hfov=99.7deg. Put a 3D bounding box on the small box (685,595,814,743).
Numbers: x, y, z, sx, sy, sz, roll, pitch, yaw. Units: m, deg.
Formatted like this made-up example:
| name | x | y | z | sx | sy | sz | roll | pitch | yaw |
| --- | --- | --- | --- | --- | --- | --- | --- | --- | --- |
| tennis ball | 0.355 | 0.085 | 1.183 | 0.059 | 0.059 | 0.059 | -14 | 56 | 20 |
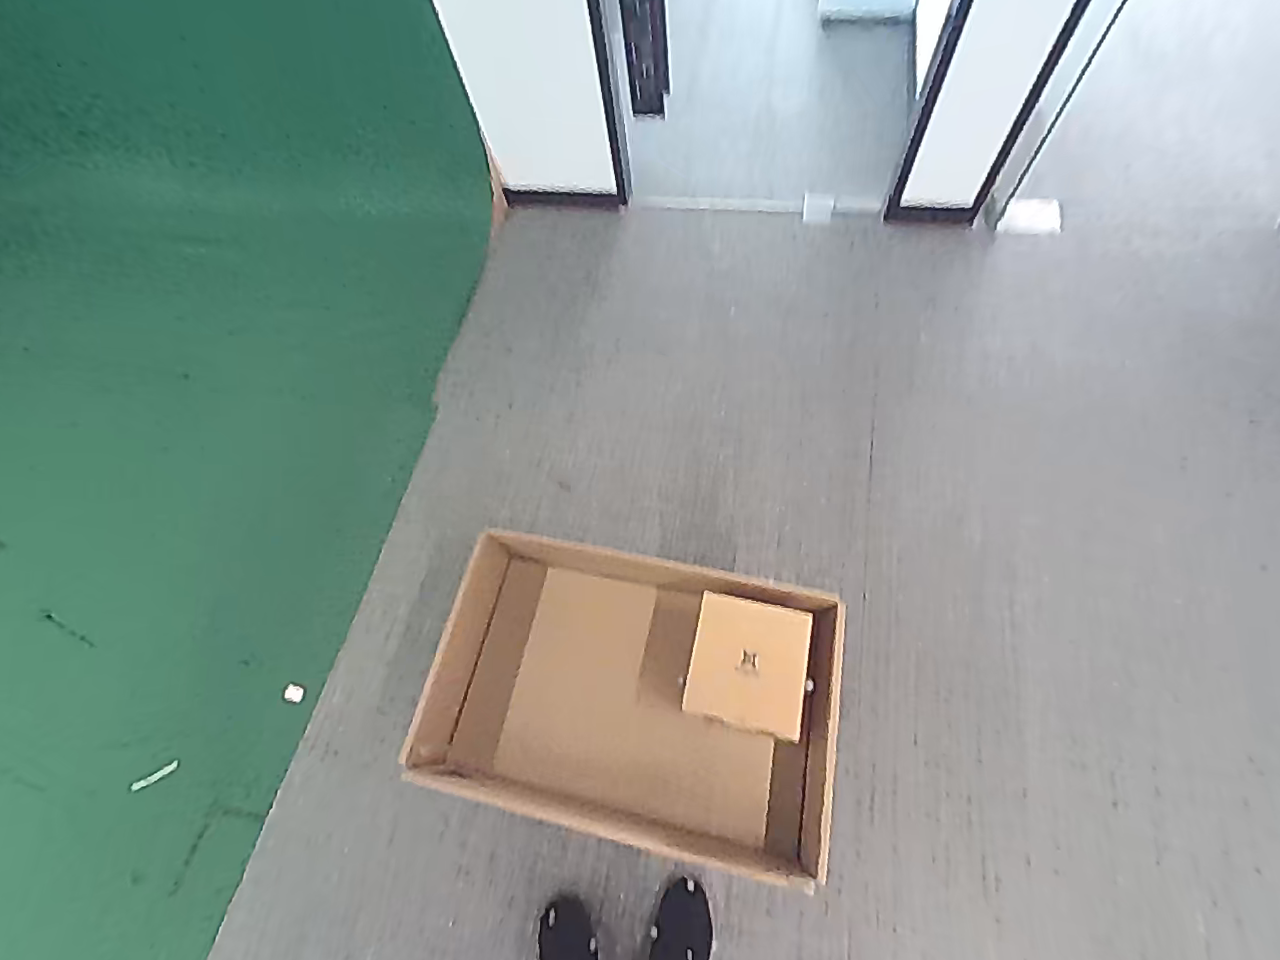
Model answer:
| name | x | y | z | sx | sy | sz | roll | pitch | yaw |
| --- | --- | --- | --- | --- | --- | --- | --- | --- | --- |
| small box | 0.167 | 0.300 | 0.856 | 0.168 | 0.176 | 0.179 | 10 | 68 | 10 |
